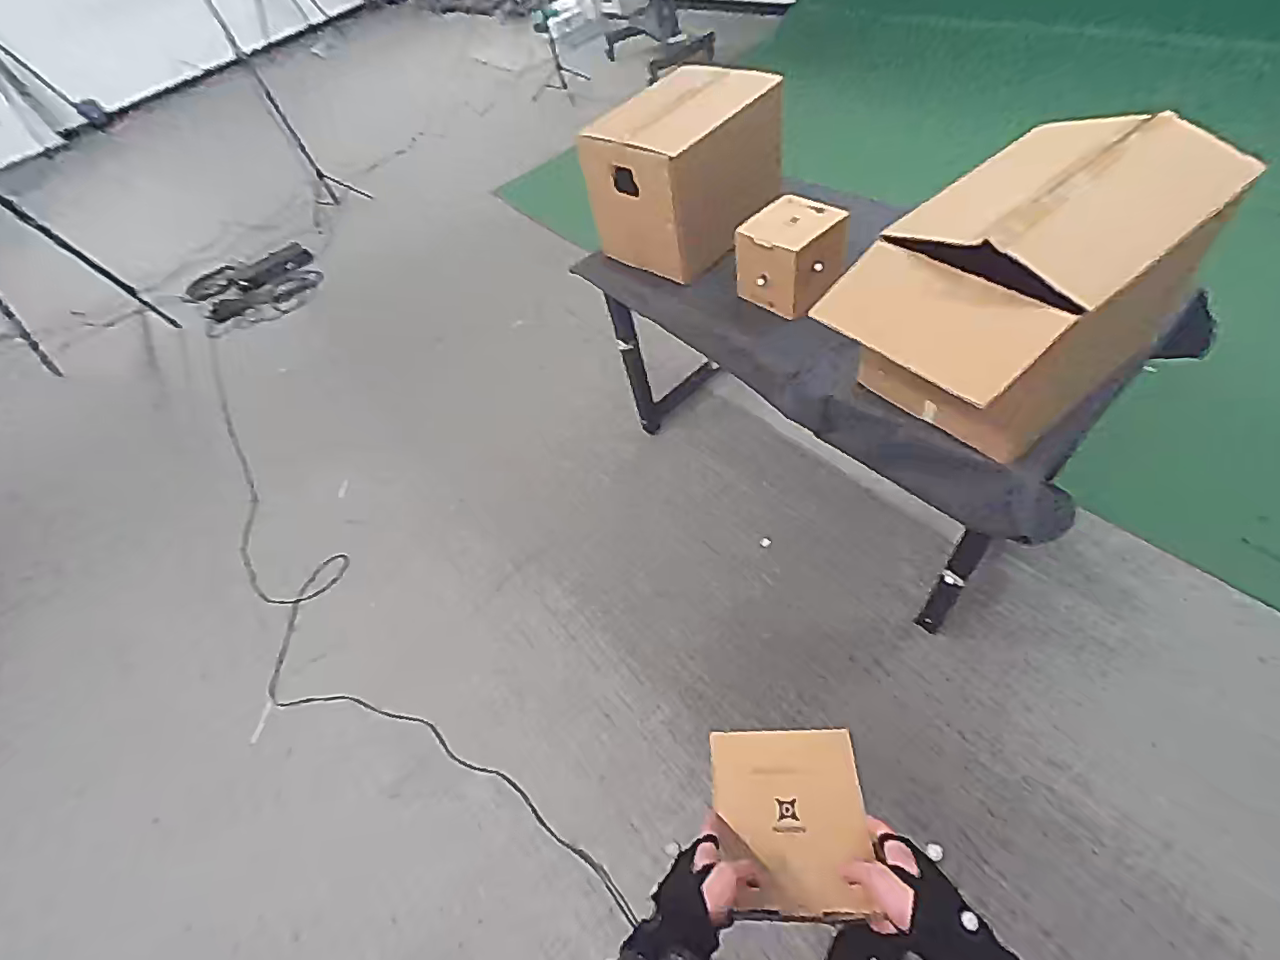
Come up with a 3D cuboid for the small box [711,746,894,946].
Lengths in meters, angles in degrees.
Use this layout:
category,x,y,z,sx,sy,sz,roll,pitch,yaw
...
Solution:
category,x,y,z,sx,sy,sz,roll,pitch,yaw
small box,0.176,0.431,0.636,0.168,0.176,0.179,-6,49,7
